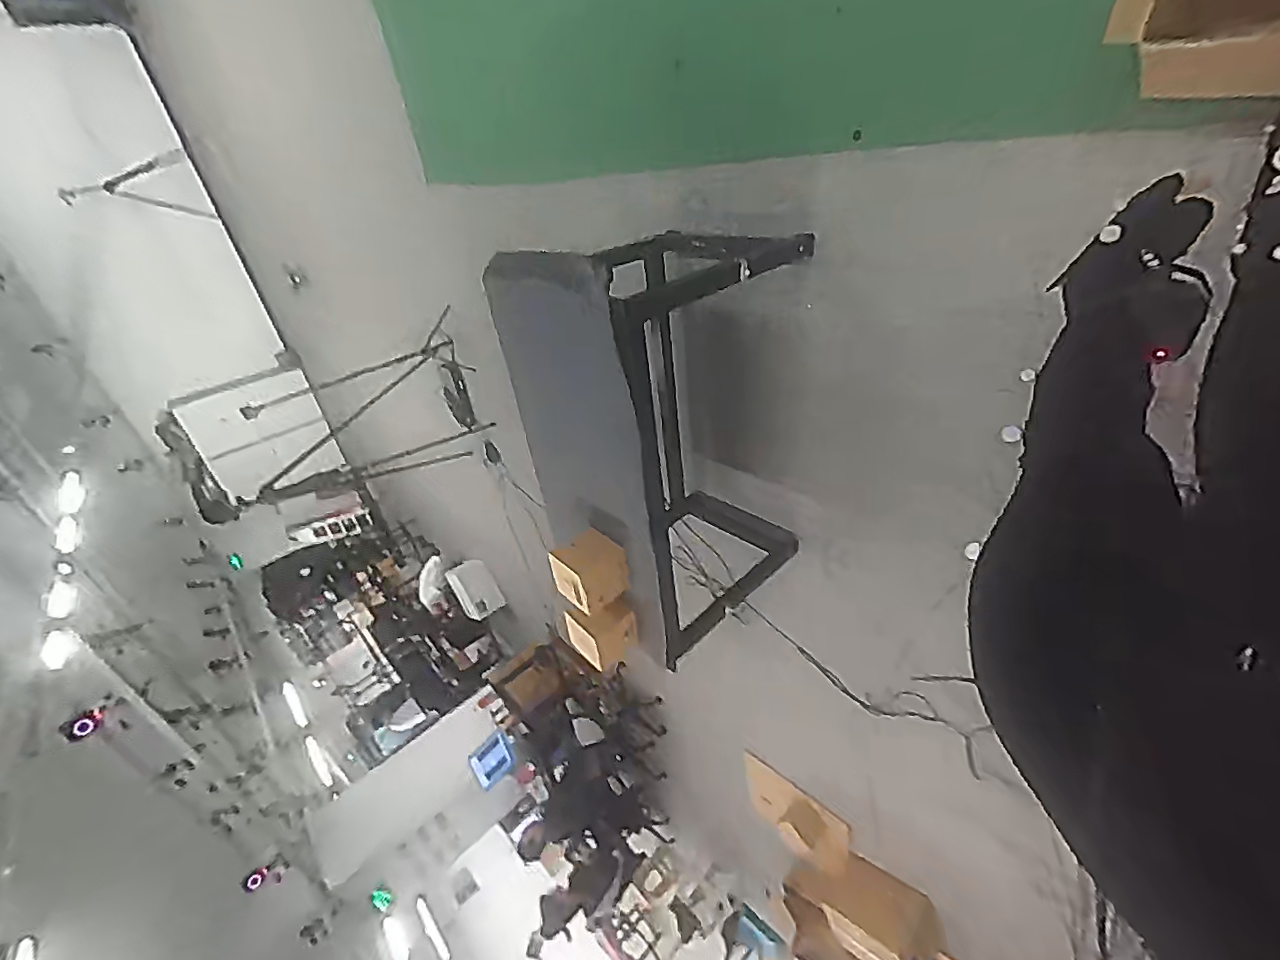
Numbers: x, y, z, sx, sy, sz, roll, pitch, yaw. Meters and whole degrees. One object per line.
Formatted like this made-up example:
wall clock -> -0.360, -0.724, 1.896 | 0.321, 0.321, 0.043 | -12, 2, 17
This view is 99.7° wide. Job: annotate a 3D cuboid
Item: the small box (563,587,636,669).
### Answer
small box -> -0.134, 0.488, 1.816 | 0.179, 0.176, 0.168 | 29, 138, 41
